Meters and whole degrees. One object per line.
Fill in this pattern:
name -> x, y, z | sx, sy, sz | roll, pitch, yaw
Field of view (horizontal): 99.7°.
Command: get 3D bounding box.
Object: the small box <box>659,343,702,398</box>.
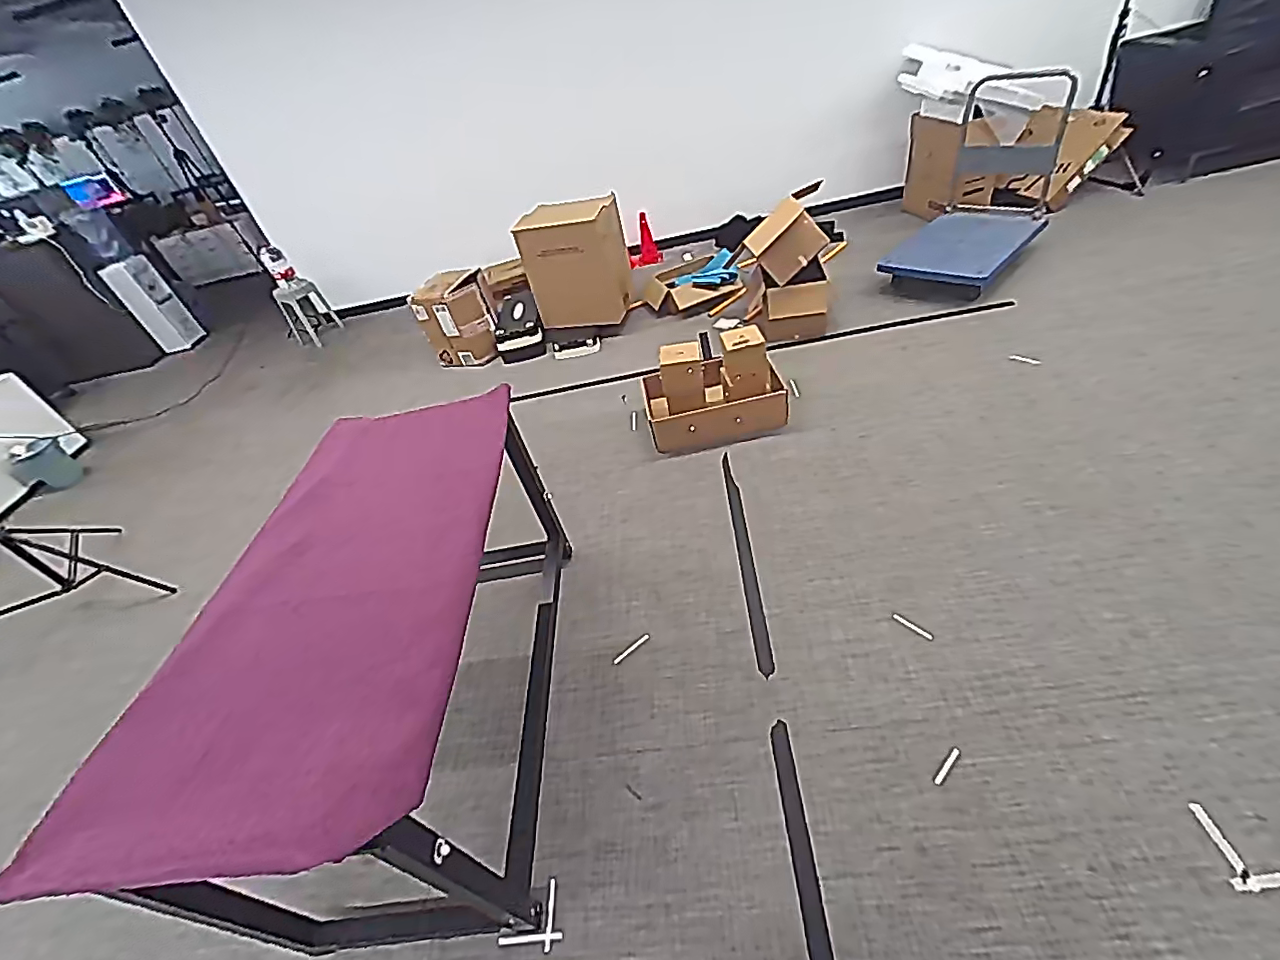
small box -> 0.182, -0.485, 2.403 | 0.179, 0.176, 0.168 | -6, 41, 9

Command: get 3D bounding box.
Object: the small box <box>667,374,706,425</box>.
small box -> 0.216, -0.375, 2.523 | 0.168, 0.176, 0.179 | -5, 41, 10

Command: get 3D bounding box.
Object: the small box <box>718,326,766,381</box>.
small box -> 0.453, -0.553, 2.392 | 0.168, 0.176, 0.179 | -13, 39, 4
